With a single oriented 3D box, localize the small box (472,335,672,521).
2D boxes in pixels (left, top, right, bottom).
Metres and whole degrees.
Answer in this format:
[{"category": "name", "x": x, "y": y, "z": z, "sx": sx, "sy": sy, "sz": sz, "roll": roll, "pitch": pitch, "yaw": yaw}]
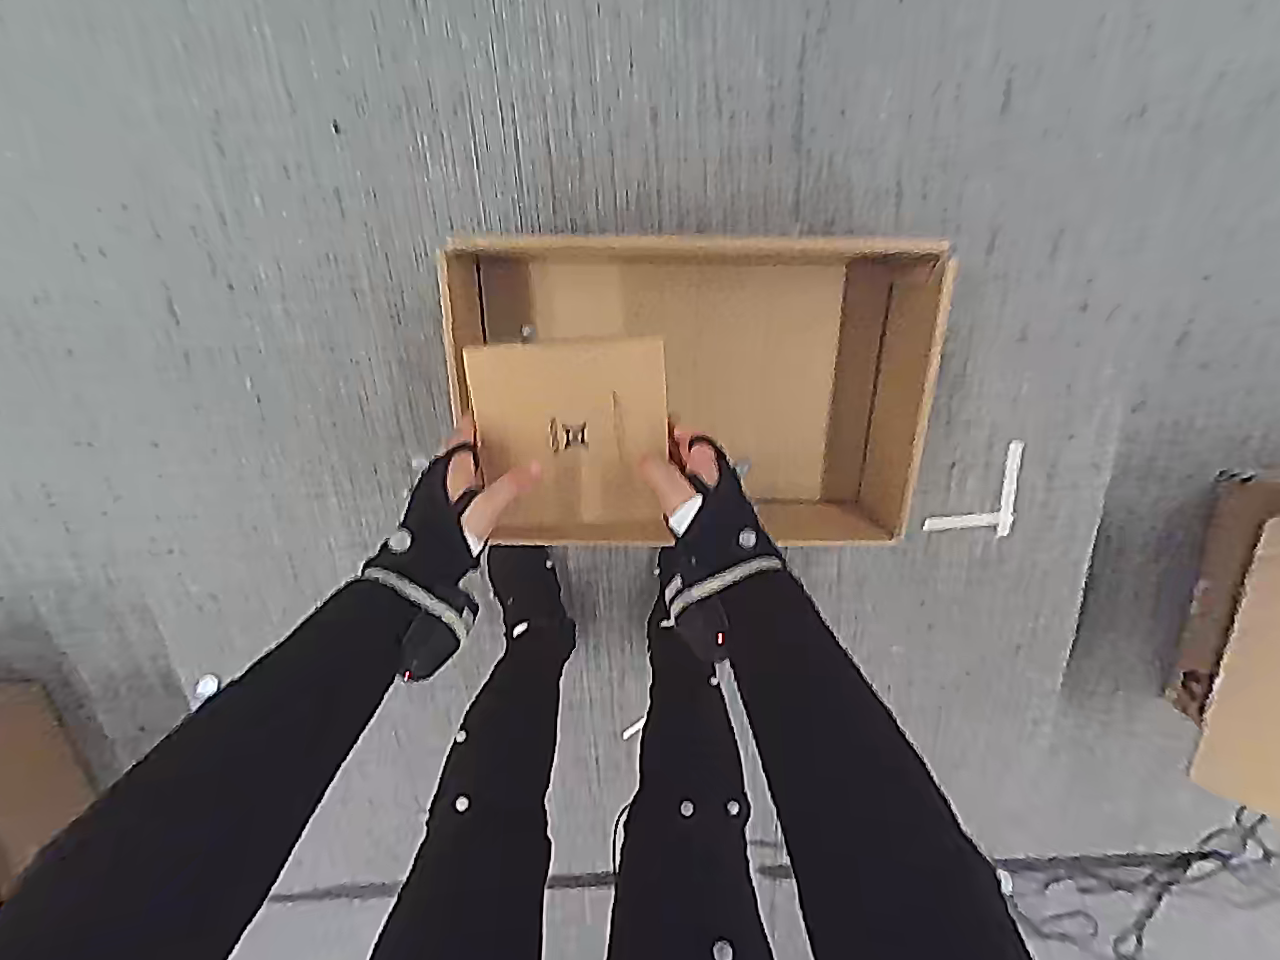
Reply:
[{"category": "small box", "x": -0.059, "y": -0.065, "z": 0.578, "sx": 0.179, "sy": 0.176, "sz": 0.168, "roll": -4, "pitch": 107, "yaw": 1}]
